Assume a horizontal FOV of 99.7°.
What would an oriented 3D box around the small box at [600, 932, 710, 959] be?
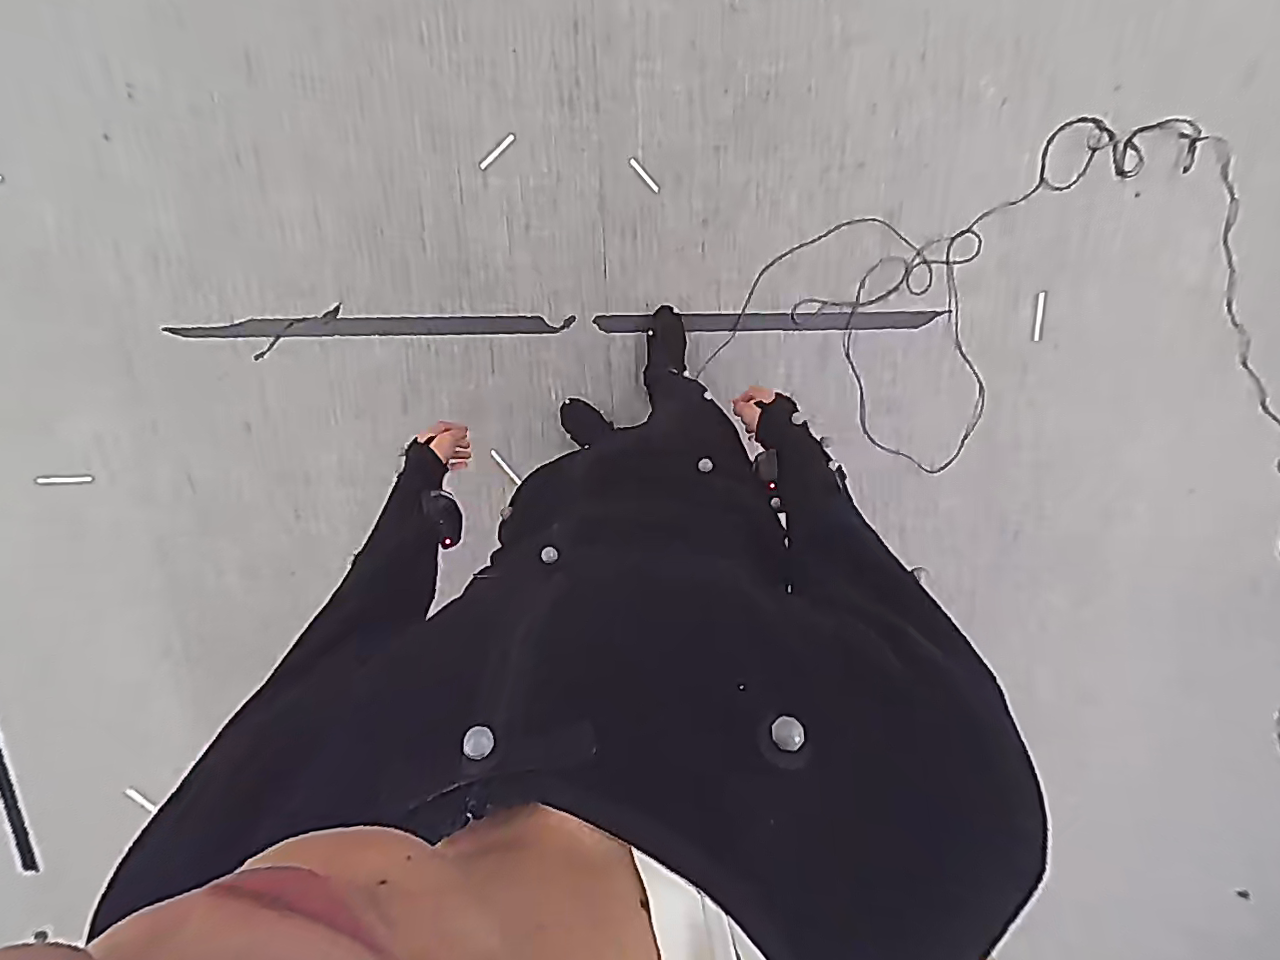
[{"bbox_3d":[0.030,0.833,0.819,0.179,0.176,0.168,-4,103,-1],"label":"small box"}]
